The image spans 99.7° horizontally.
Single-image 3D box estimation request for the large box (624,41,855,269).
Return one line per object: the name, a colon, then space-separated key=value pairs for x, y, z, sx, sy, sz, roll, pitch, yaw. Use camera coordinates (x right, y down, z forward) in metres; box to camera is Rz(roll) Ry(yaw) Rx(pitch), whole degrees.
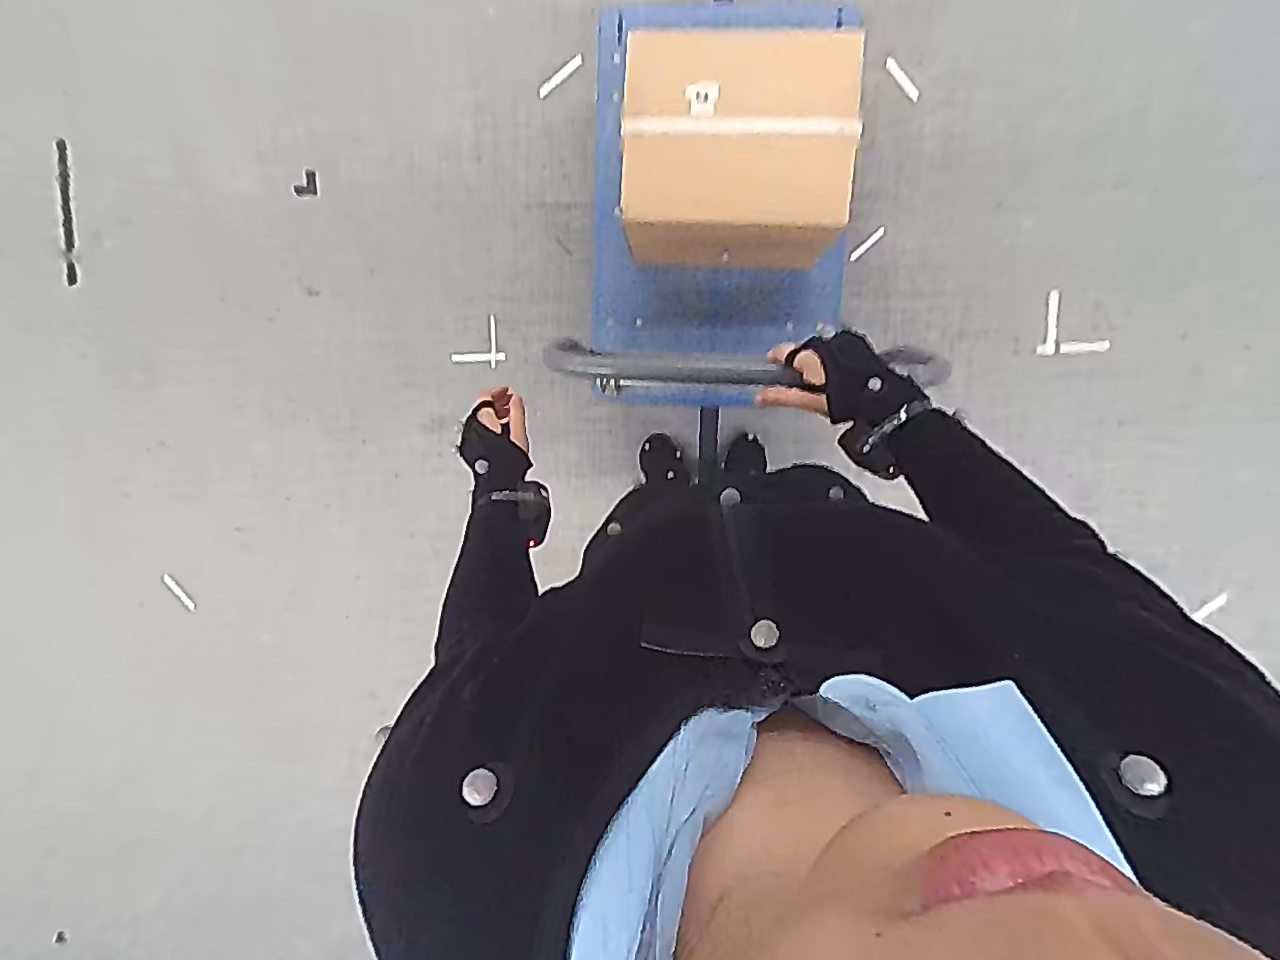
large box: x=0.187 y=-0.631 z=1.114 sx=0.408 sy=0.320 sz=0.320 roll=3 pitch=96 yaw=5
